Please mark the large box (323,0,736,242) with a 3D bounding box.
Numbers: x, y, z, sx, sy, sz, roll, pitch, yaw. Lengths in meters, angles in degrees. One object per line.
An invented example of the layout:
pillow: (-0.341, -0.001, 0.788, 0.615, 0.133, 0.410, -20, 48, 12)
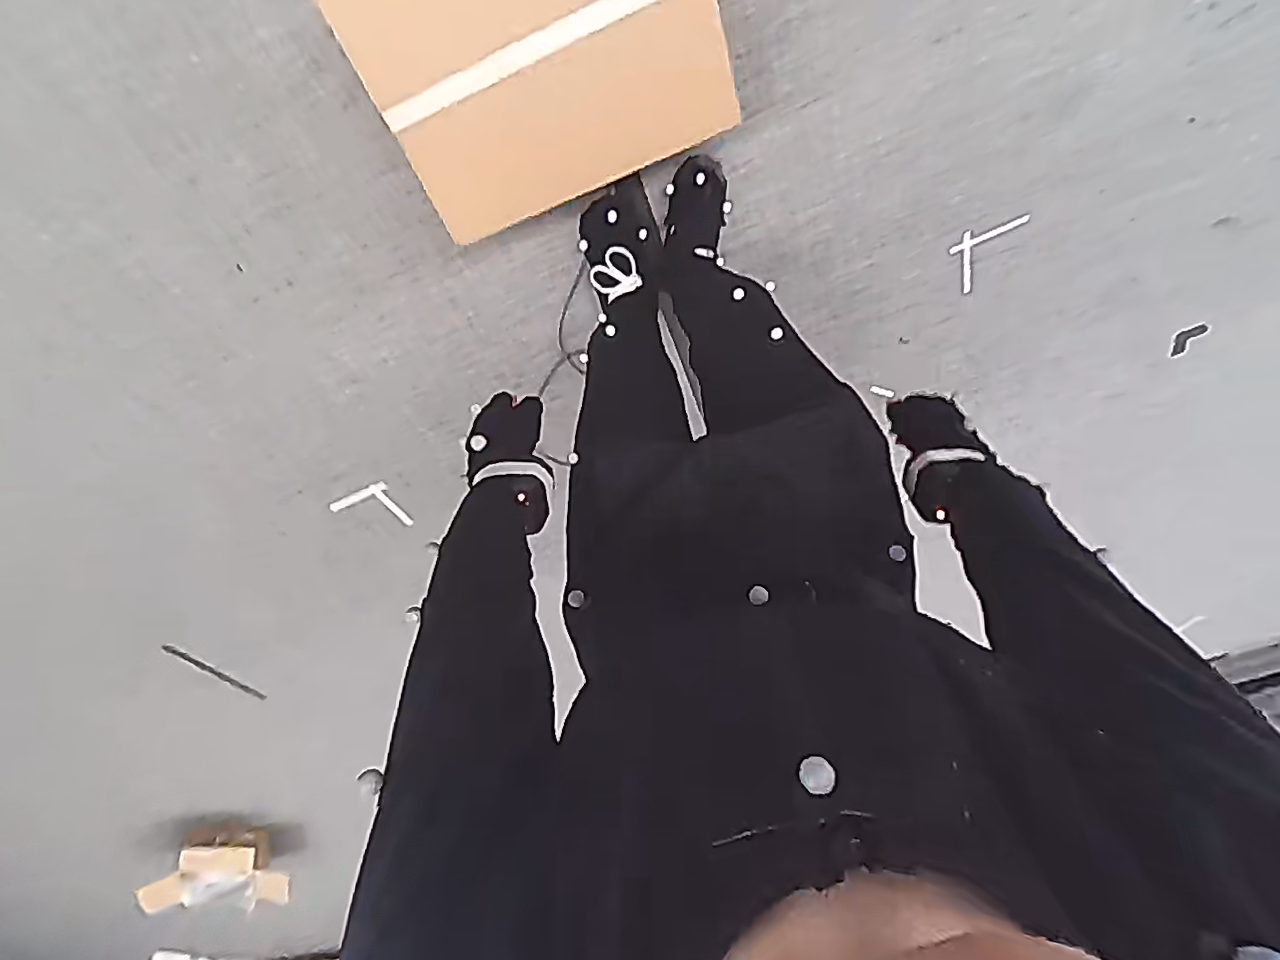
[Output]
large box: (-0.127, -0.590, 0.733, 0.408, 0.320, 0.320, -18, 131, 10)
